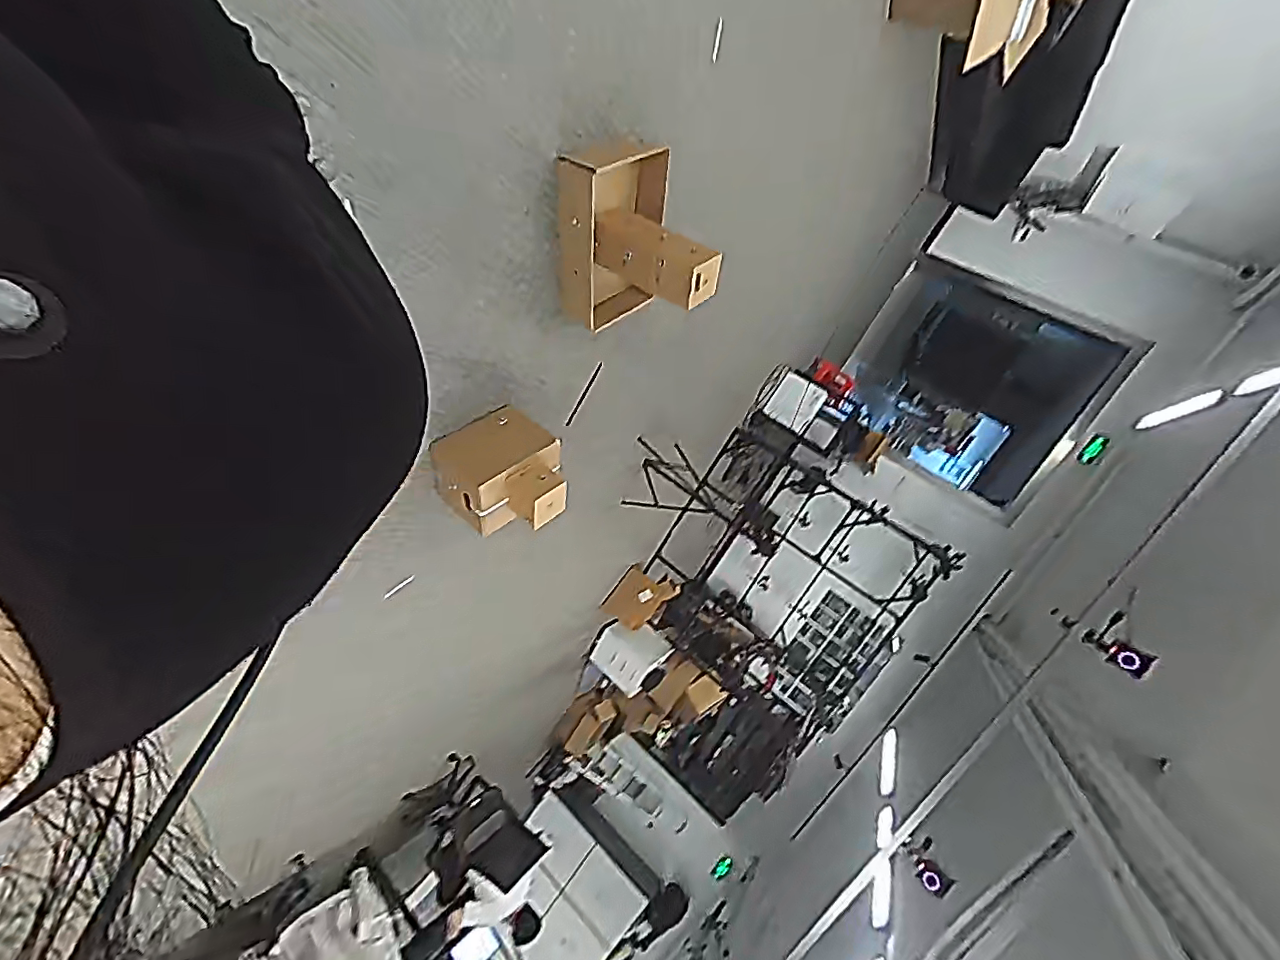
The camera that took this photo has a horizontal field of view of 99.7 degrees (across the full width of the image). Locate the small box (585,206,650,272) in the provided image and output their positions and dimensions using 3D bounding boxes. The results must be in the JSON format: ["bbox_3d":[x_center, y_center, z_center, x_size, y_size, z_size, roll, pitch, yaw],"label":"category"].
[{"bbox_3d":[-0.087,-0.931,2.076,0.179,0.176,0.168,-38,152,-34],"label":"small box"}]

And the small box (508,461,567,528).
[{"bbox_3d":[-0.410,0.049,2.142,0.168,0.176,0.179,-36,152,-36],"label":"small box"}]

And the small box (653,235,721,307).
[{"bbox_3d":[0.163,-0.760,1.954,0.179,0.176,0.168,-41,154,-33],"label":"small box"}]

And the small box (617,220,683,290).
[{"bbox_3d":[0.036,-0.844,2.016,0.179,0.176,0.168,-38,152,-33],"label":"small box"}]
